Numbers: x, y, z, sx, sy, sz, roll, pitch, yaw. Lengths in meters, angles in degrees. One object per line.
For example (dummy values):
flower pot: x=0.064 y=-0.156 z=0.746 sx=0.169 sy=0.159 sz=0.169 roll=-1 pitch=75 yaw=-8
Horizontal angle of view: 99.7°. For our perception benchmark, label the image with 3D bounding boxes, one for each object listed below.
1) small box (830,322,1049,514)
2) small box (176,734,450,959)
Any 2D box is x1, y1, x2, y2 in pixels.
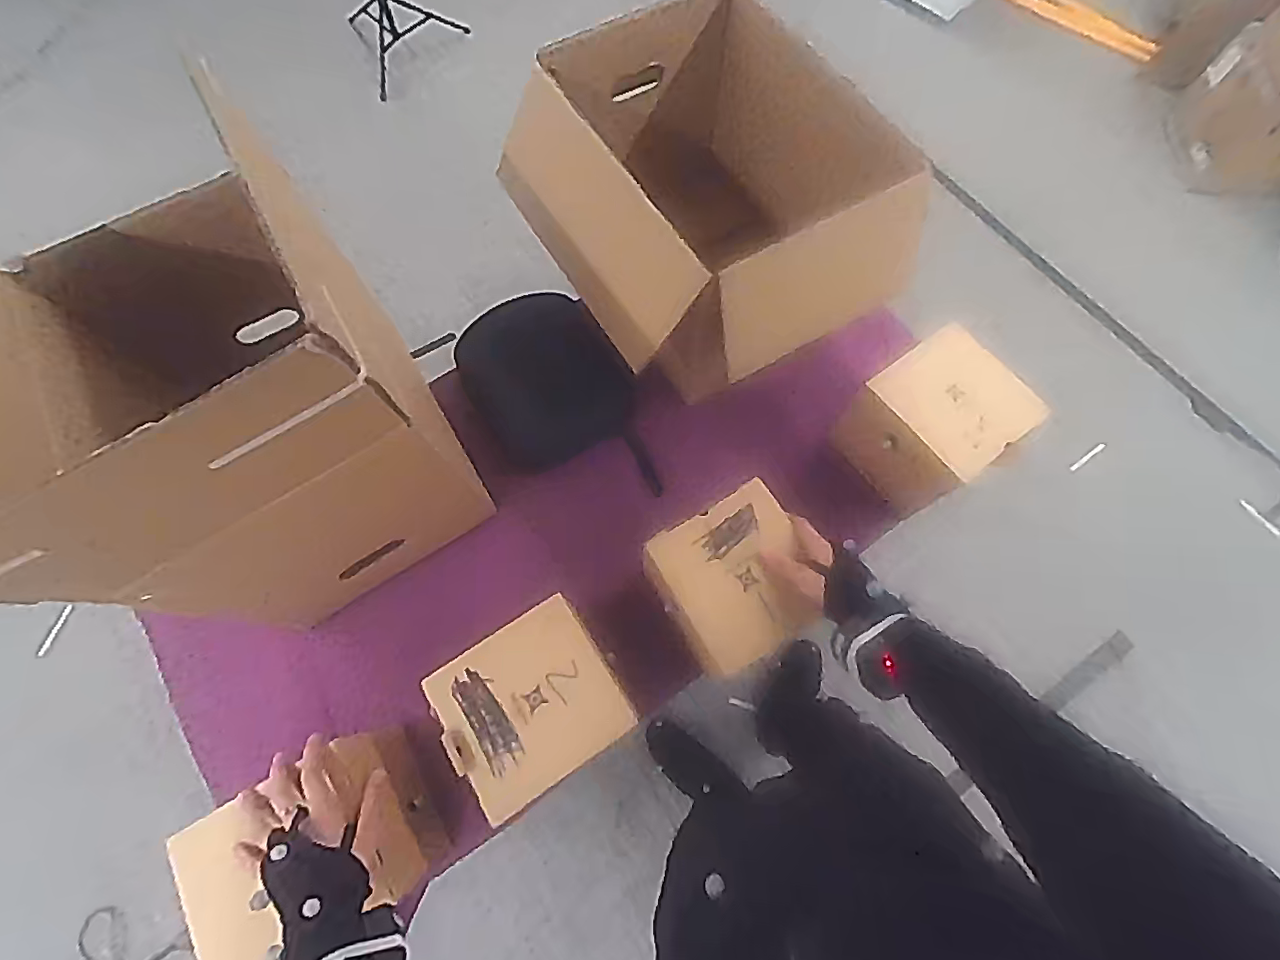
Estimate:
small box: x=0.404 y=-0.079 z=0.766 sx=0.168 sy=0.176 sz=0.179 roll=-35 pitch=74 yaw=-11
small box: x=-0.342 y=0.407 z=0.597 sx=0.179 sy=0.176 sz=0.168 roll=-29 pitch=73 yaw=-12
